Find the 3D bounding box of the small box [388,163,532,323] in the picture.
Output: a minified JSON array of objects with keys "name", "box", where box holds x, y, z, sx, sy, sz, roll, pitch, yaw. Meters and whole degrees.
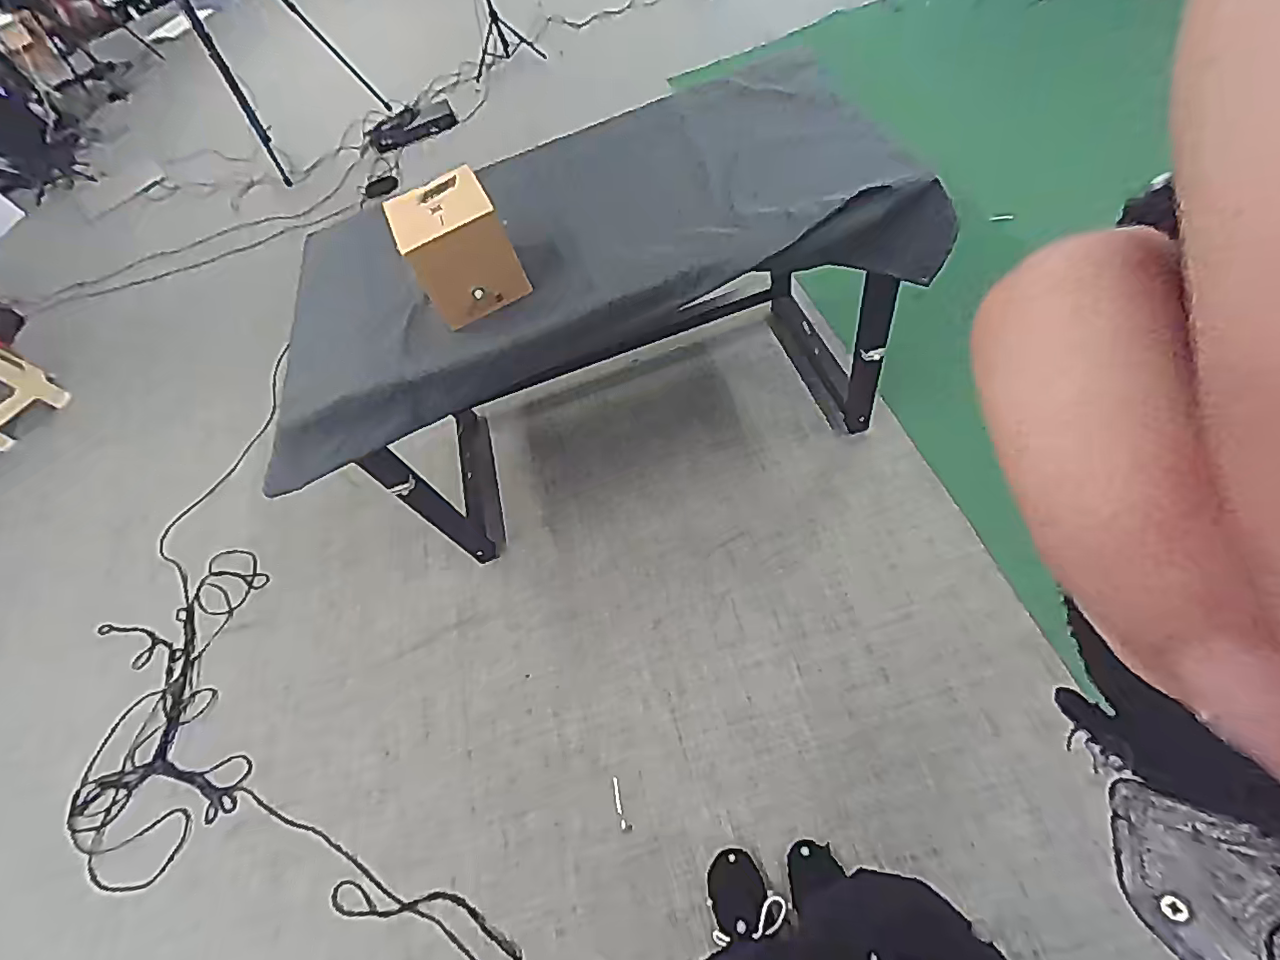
[{"name":"small box","box":[-0.315,-0.415,0.961,0.168,0.176,0.179,-28,57,-3]}]
